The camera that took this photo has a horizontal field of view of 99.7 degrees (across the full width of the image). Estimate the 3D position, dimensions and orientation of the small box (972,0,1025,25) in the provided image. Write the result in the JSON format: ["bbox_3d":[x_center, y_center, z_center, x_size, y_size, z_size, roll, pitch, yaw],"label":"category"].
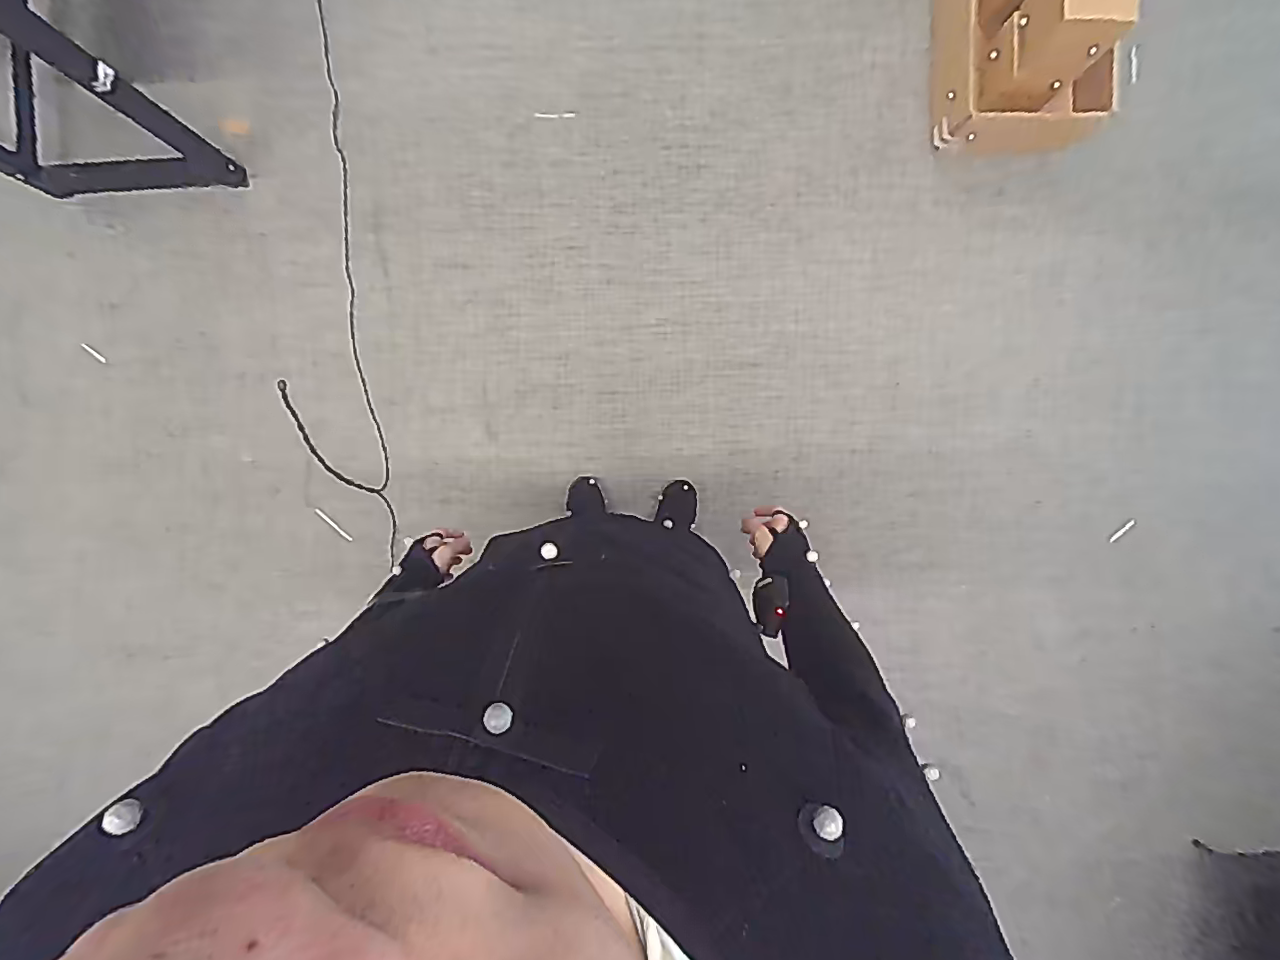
[{"bbox_3d":[1.049,-1.402,1.491,0.179,0.176,0.168,-1,92,0],"label":"small box"}]

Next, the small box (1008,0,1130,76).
[{"bbox_3d":[1.055,-1.139,1.336,0.179,0.176,0.168,1,90,0],"label":"small box"}]

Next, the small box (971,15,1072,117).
[{"bbox_3d":[1.049,-1.140,1.500,0.179,0.176,0.168,-1,91,-1],"label":"small box"}]
